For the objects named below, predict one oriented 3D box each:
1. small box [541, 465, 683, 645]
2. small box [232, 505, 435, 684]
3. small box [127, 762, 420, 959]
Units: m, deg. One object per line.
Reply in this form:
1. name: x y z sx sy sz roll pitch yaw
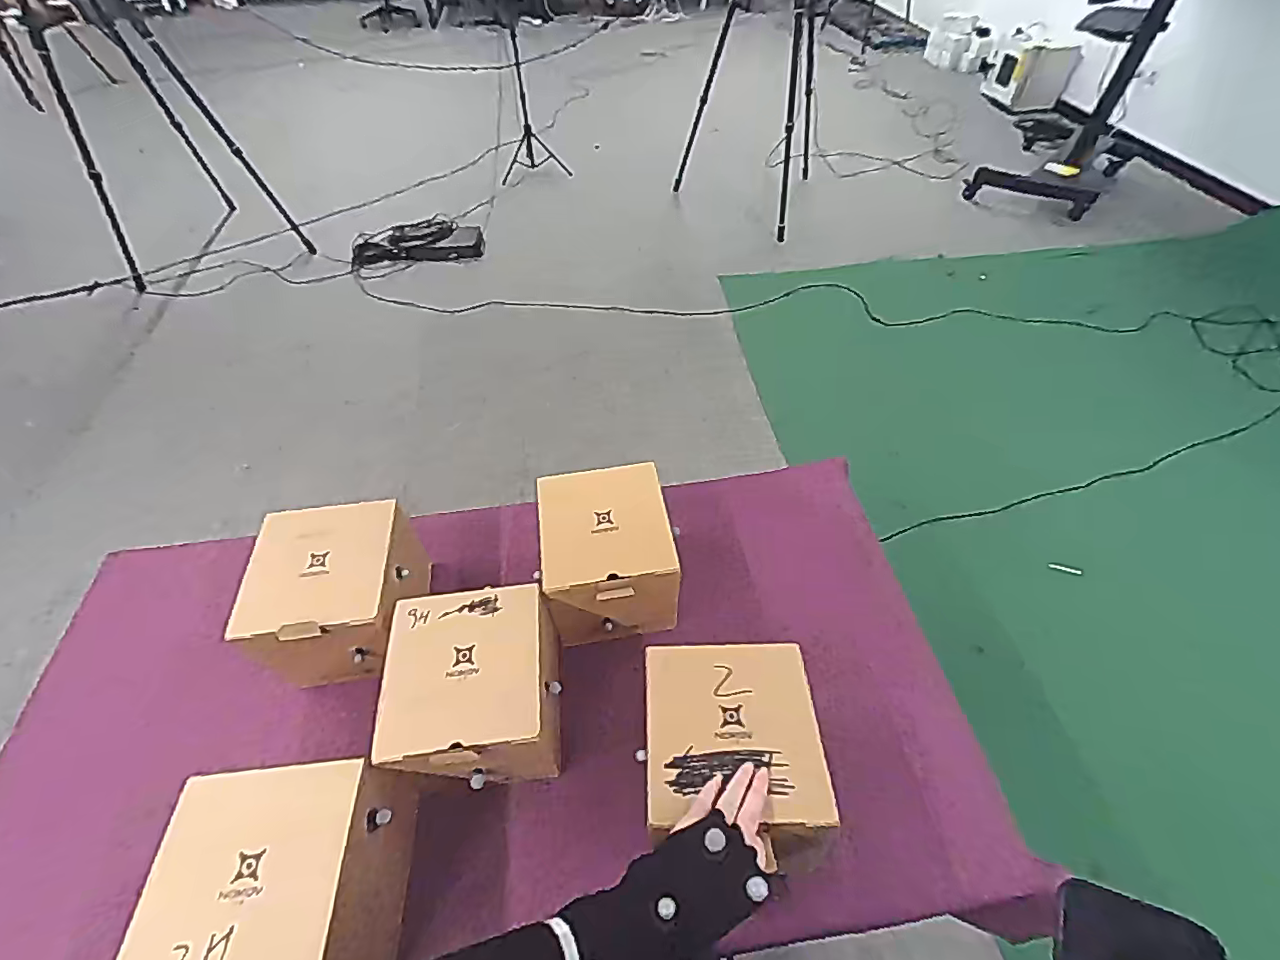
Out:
1. small box: -0.042 0.106 0.756 0.168 0.176 0.179 -9 53 -5
2. small box: -0.387 0.159 0.723 0.168 0.176 0.179 -6 51 -5
3. small box: -0.331 0.396 0.526 0.168 0.176 0.179 -6 51 -2
